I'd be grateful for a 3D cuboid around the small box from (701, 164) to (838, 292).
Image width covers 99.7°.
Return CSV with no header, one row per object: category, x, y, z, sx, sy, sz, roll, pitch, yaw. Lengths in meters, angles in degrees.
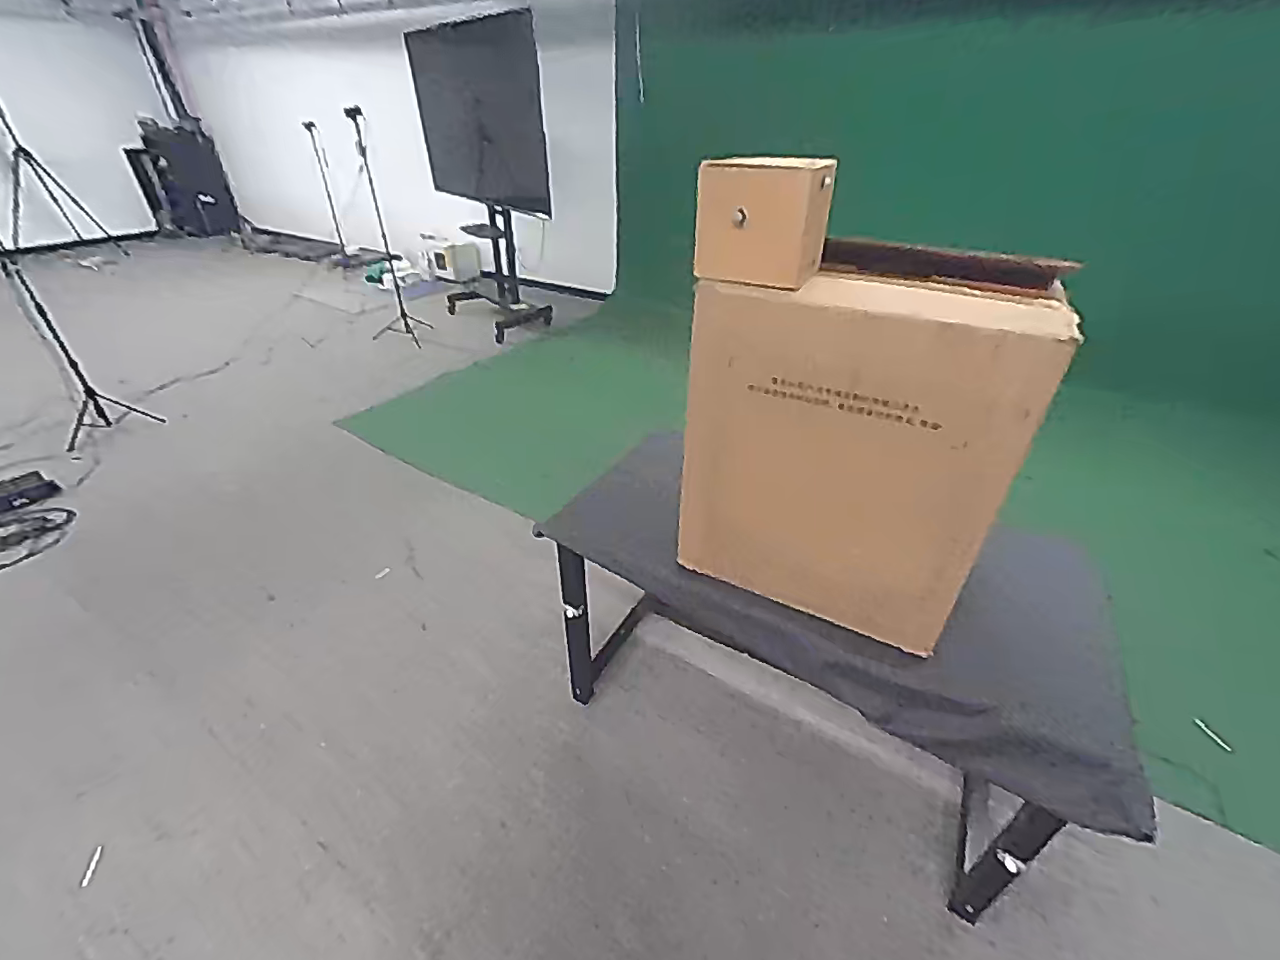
small box,0.209,-0.417,0.892,0.179,0.176,0.168,15,38,24
